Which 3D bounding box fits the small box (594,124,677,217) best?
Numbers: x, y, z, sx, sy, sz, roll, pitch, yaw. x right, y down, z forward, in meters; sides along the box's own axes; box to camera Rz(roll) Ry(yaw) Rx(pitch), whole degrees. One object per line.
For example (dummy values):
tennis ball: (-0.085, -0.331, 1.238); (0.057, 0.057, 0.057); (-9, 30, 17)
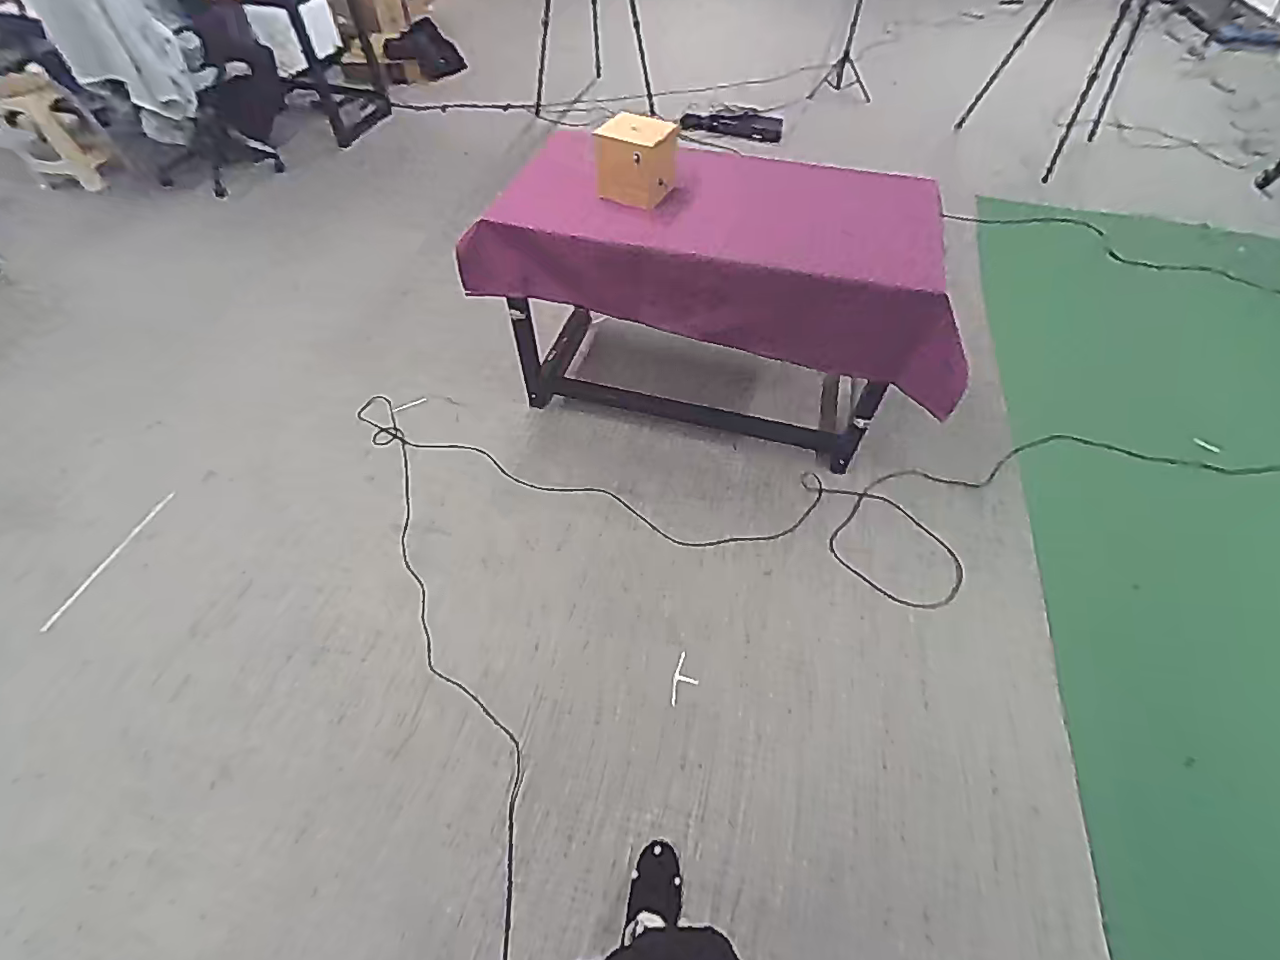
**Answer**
small box: (-0.012, -0.872, 1.529); (0.179, 0.176, 0.168); (23, 55, 15)
